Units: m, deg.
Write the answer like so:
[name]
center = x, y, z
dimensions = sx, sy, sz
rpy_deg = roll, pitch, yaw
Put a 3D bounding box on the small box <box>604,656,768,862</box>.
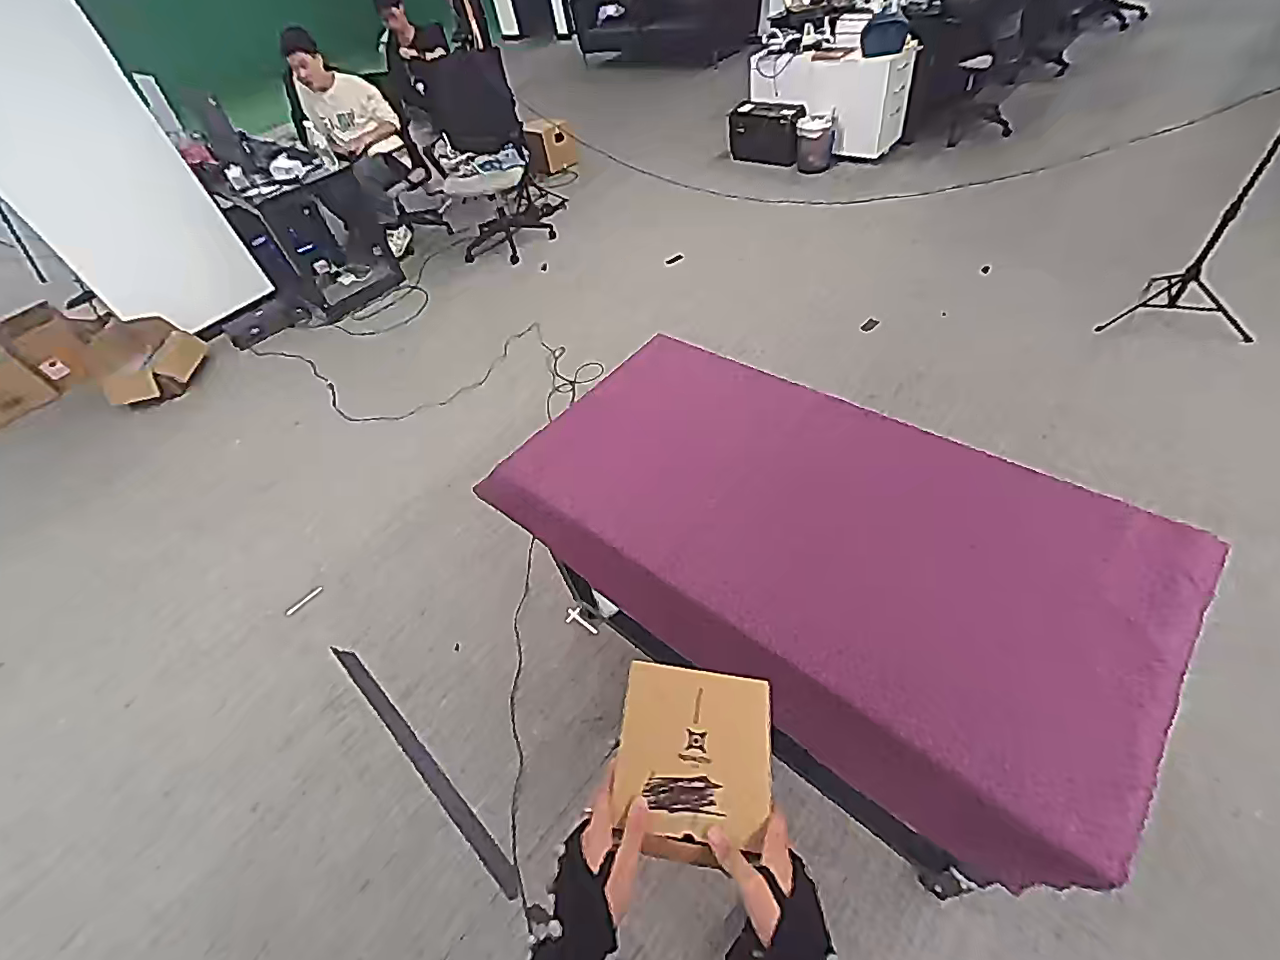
[small box]
center = 0.052, 0.336, 0.645
dimensions = 0.168, 0.176, 0.179
rpy_deg = 8, 50, 2
